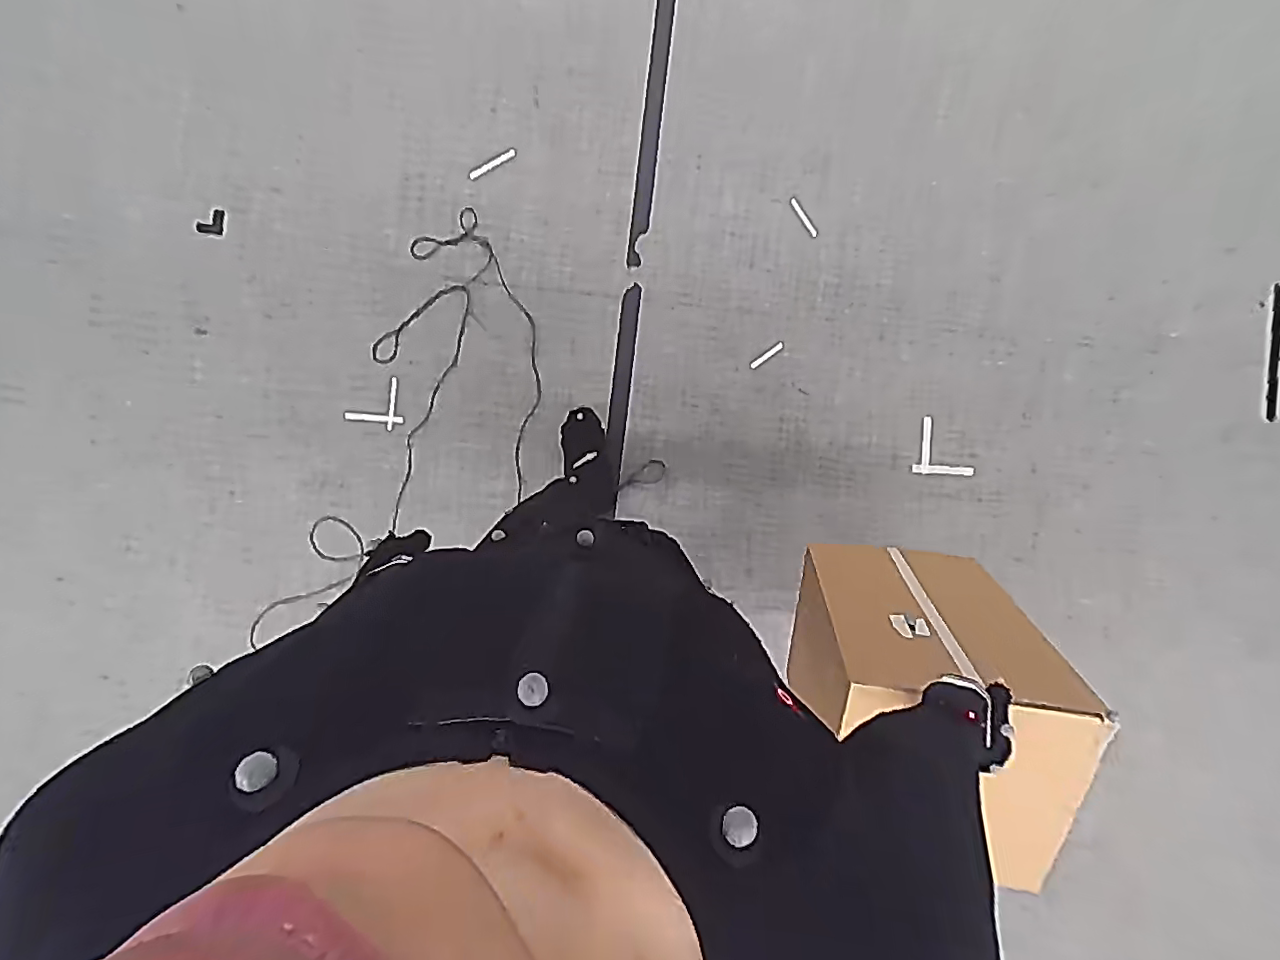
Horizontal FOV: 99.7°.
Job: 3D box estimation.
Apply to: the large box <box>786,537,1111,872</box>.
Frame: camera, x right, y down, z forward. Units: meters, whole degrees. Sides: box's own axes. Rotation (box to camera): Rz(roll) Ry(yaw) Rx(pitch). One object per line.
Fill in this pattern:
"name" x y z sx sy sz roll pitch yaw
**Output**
"large box" 0.447 0.339 0.916 0.320 0.408 0.320 6 112 7
